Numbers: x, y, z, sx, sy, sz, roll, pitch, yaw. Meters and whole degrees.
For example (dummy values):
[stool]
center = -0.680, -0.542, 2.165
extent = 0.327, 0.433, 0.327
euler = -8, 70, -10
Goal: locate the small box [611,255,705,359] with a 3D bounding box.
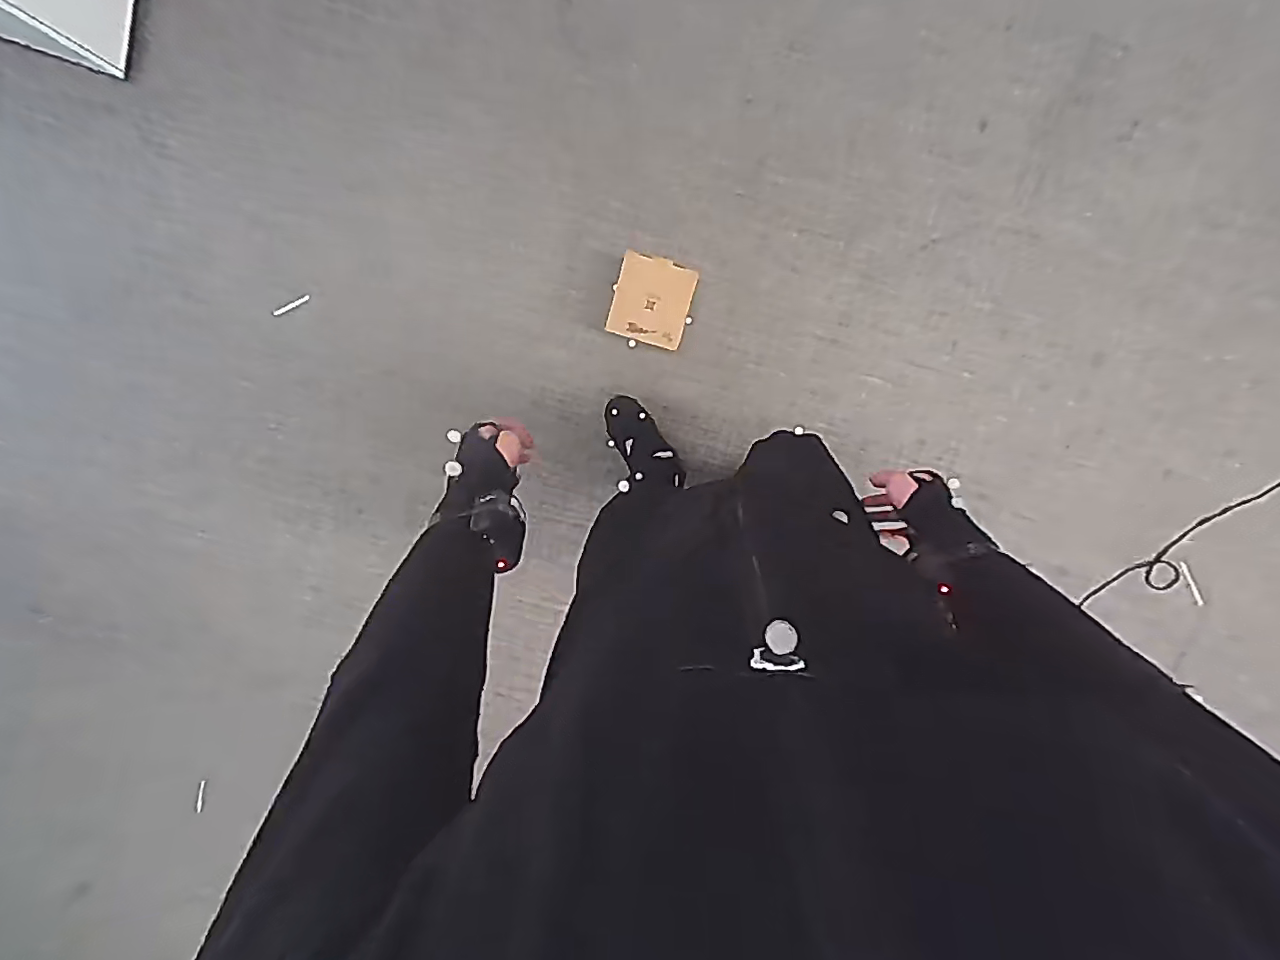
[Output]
[small box]
center = 0.038, -0.391, 1.250
extent = 0.168, 0.176, 0.179
euler = 17, 99, -1
